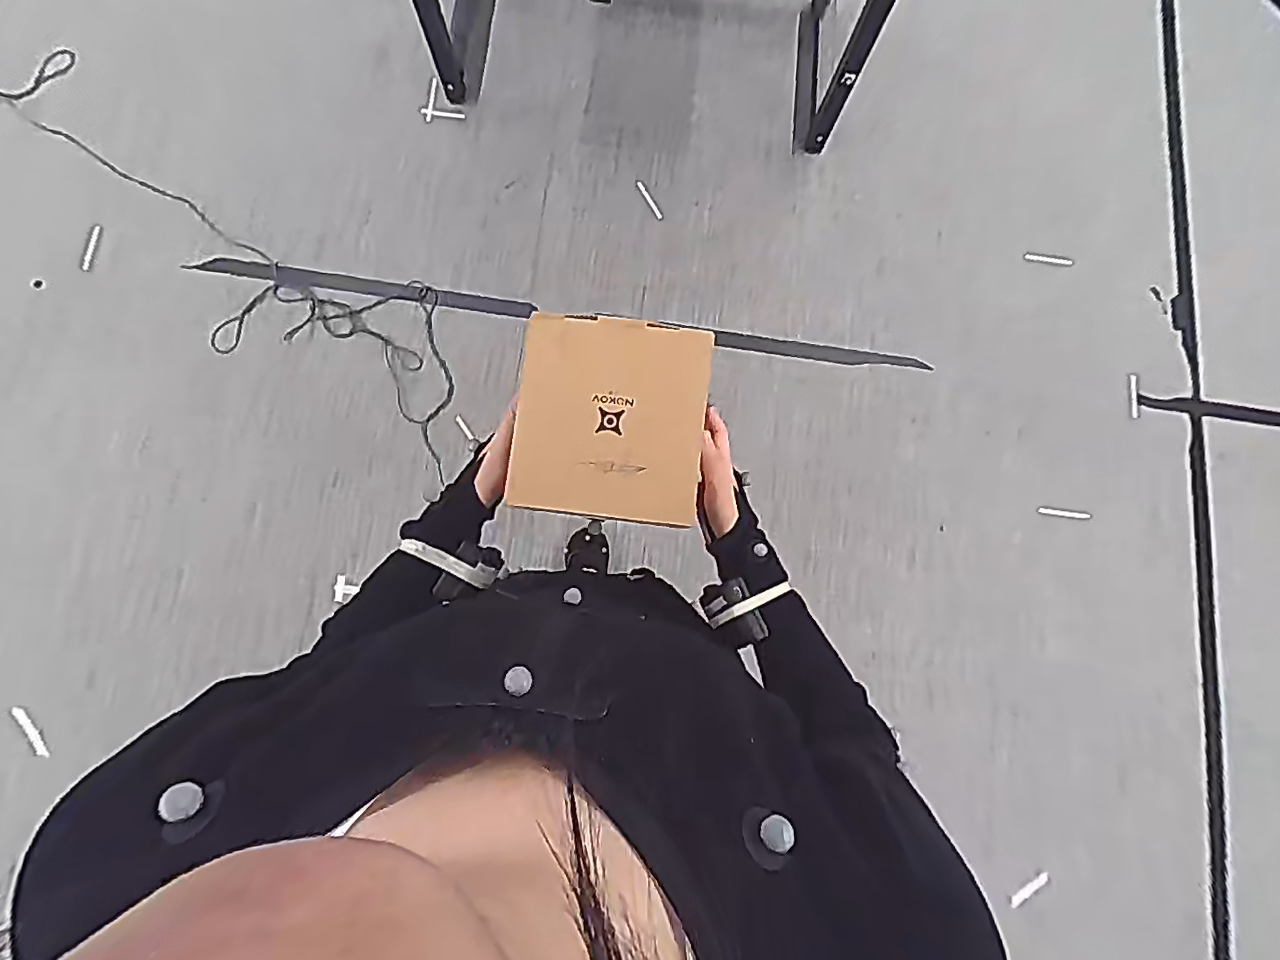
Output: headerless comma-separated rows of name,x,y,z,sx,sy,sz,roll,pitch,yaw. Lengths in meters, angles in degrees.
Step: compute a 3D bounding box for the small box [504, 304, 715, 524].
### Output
small box,-0.025,-0.052,0.545,0.168,0.176,0.179,7,85,1
